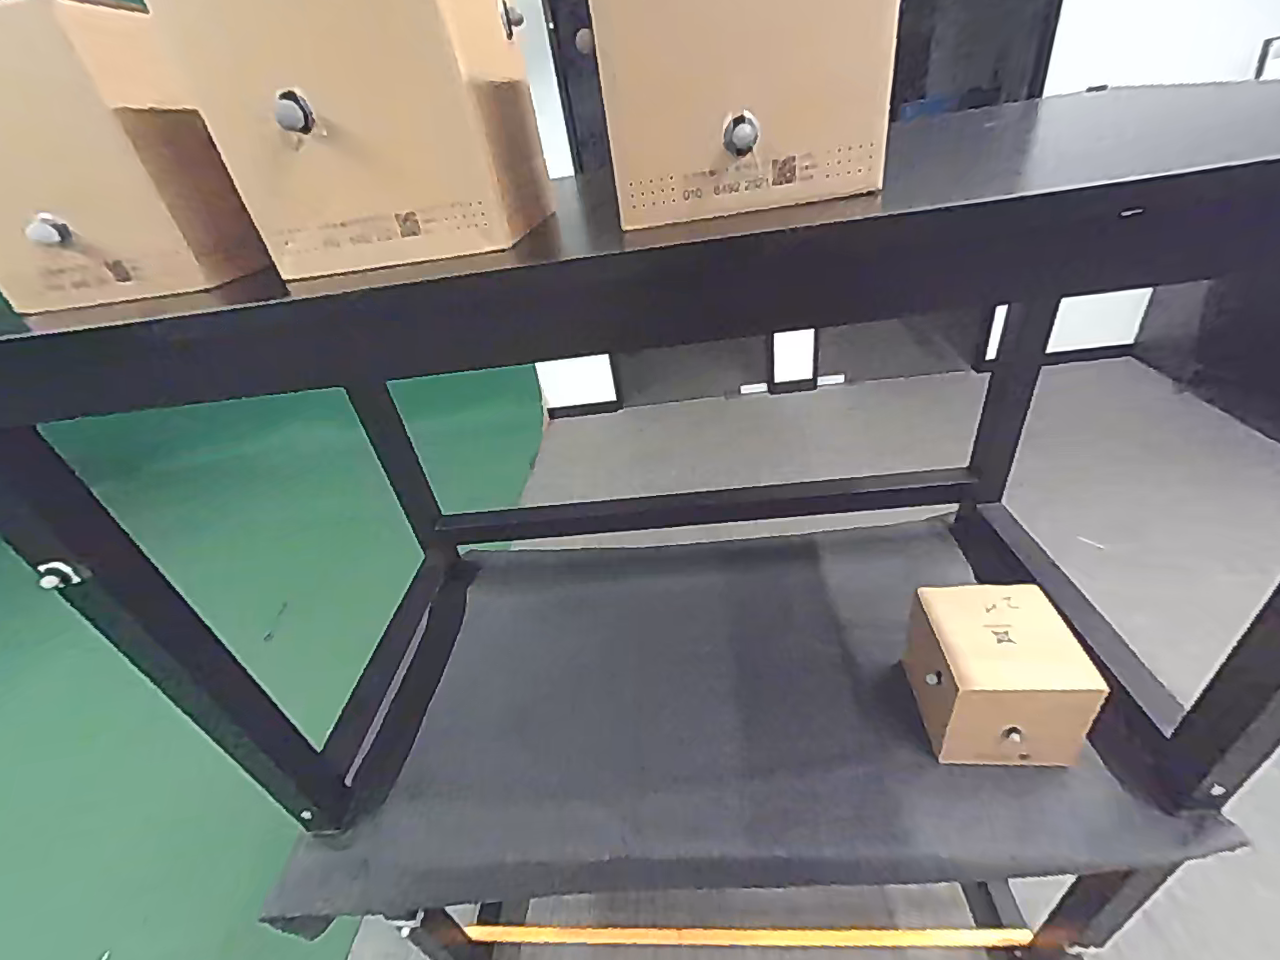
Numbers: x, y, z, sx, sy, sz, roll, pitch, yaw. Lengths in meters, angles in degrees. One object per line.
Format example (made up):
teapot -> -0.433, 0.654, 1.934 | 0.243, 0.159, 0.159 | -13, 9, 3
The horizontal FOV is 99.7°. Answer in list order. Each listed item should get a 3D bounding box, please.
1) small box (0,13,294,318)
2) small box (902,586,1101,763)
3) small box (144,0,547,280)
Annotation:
small box -> -0.400, -0.243, 0.436 | 0.168, 0.176, 0.179 | -5, 34, 7
small box -> 0.485, 0.271, 0.758 | 0.168, 0.176, 0.179 | -3, 33, 10
small box -> -0.178, -0.254, 0.399 | 0.168, 0.176, 0.179 | -5, 33, 8
